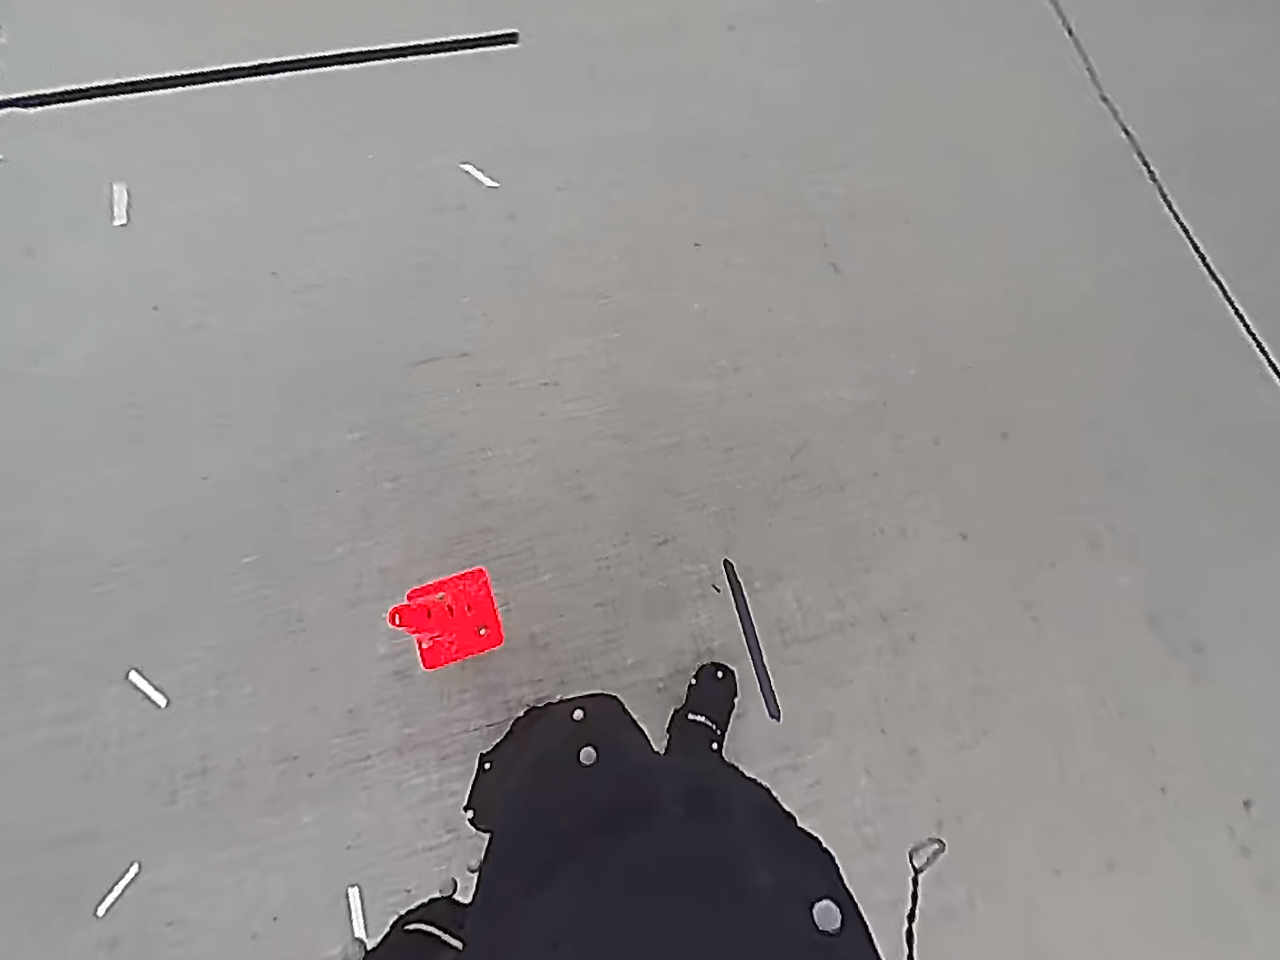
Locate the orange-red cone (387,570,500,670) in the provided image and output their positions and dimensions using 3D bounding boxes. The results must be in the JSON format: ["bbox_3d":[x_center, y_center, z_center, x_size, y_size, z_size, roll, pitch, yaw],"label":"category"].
[{"bbox_3d":[-0.441,0.286,1.127,0.198,0.360,0.199,-17,75,-7],"label":"orange-red cone"}]
